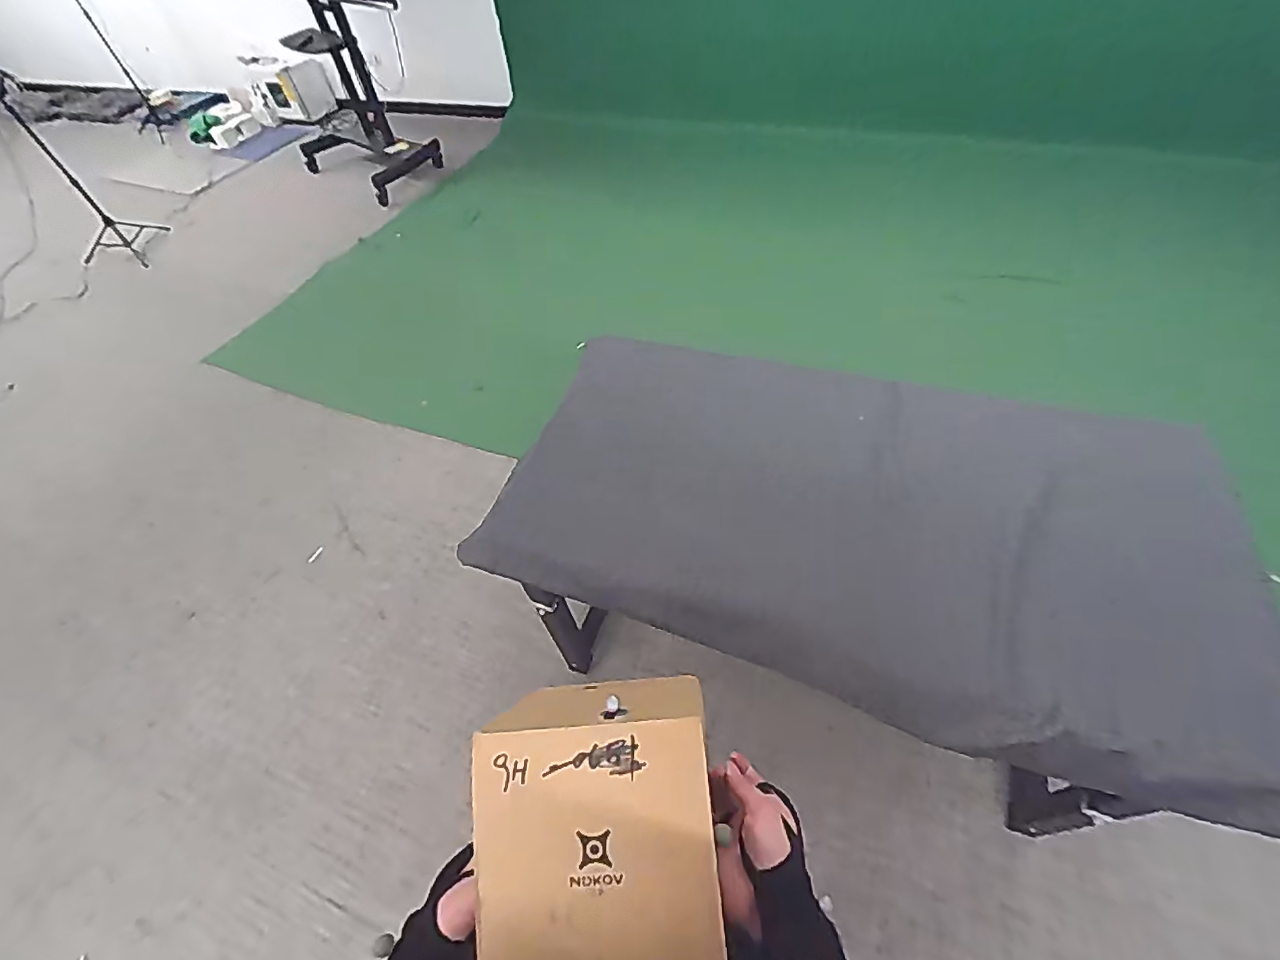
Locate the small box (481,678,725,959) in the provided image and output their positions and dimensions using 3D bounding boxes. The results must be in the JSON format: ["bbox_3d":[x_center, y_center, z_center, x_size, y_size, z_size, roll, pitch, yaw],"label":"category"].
[{"bbox_3d":[-0.022,0.278,0.452,0.168,0.176,0.179,-6,80,3],"label":"small box"}]
